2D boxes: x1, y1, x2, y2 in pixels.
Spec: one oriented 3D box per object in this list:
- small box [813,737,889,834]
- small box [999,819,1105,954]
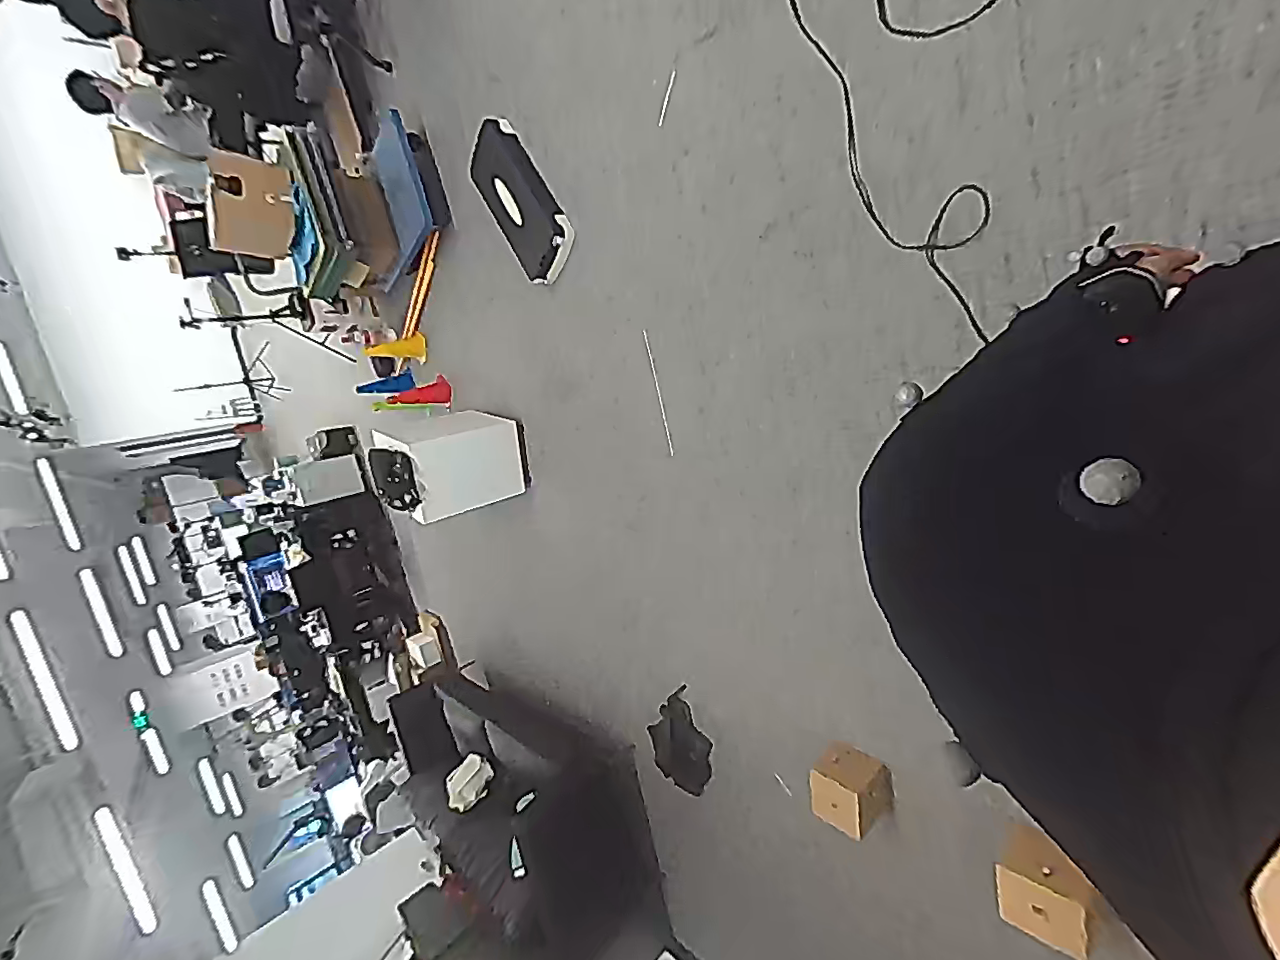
[{"bbox_3d":[0.677,0.966,1.729,0.168,0.176,0.179,8,113,50],"label":"small box"},{"bbox_3d":[1.013,0.981,1.328,0.179,0.176,0.168,2,107,50],"label":"small box"}]
